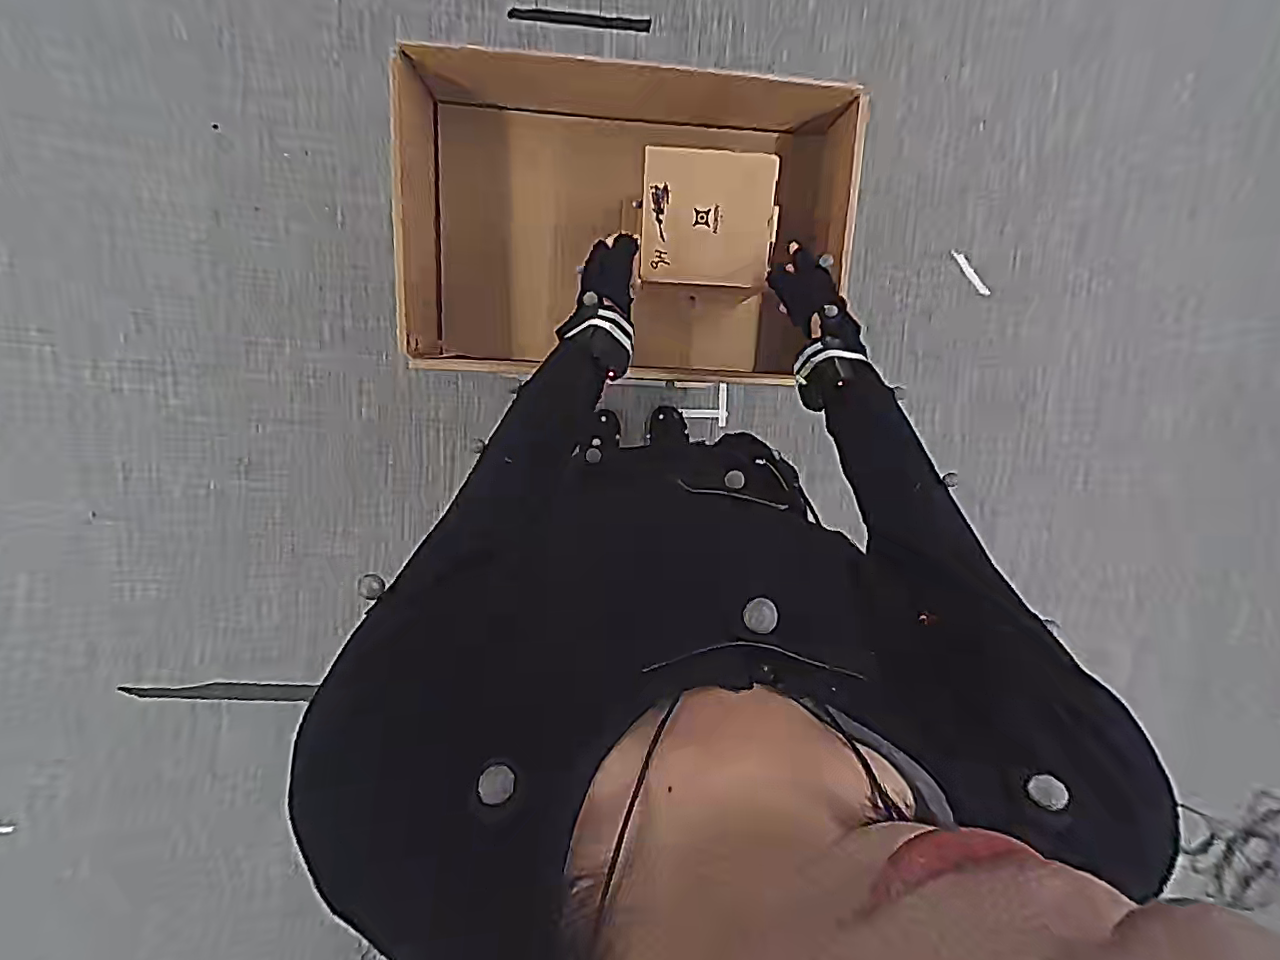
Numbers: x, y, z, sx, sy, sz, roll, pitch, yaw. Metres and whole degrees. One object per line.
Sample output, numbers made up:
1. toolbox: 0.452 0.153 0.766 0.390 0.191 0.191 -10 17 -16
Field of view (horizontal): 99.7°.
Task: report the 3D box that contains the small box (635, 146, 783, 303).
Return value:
1. small box: 0.088 -0.355 0.782 0.179 0.176 0.168 2 101 -4
